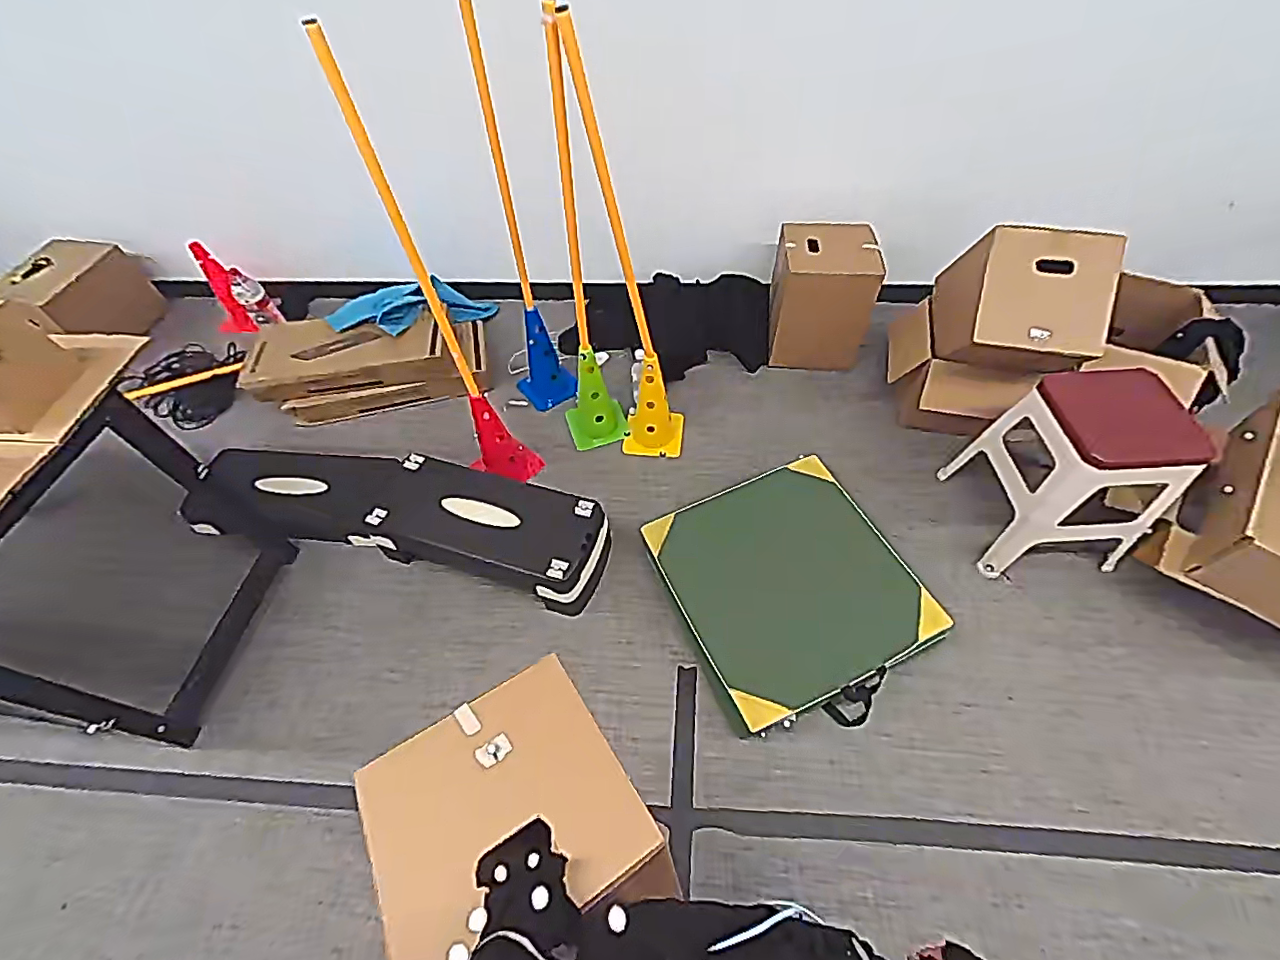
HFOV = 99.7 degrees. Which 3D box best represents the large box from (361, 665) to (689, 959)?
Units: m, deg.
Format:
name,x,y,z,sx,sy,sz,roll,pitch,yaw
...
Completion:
name,x,y,z,sx,sy,sz,roll,pitch,yaw
large box,-0.155,0.565,0.819,0.320,0.408,0.320,-27,43,-19
